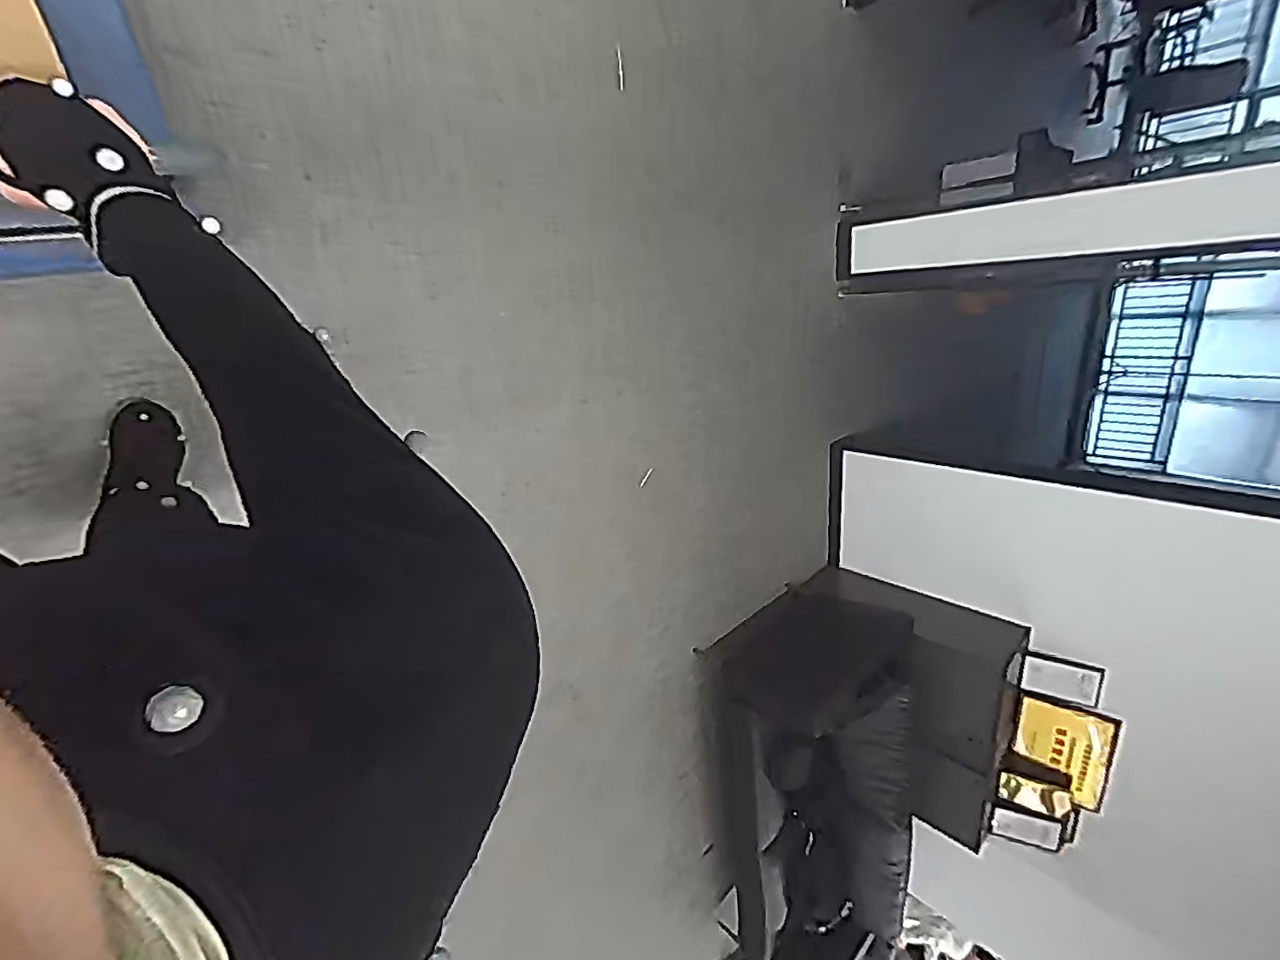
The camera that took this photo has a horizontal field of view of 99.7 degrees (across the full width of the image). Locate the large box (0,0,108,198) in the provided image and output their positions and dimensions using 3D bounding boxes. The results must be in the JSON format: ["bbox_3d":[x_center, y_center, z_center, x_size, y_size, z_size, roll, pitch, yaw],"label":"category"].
[{"bbox_3d":[-0.967,-0.596,0.677,0.320,0.320,0.408,-25,117,-37],"label":"large box"}]
